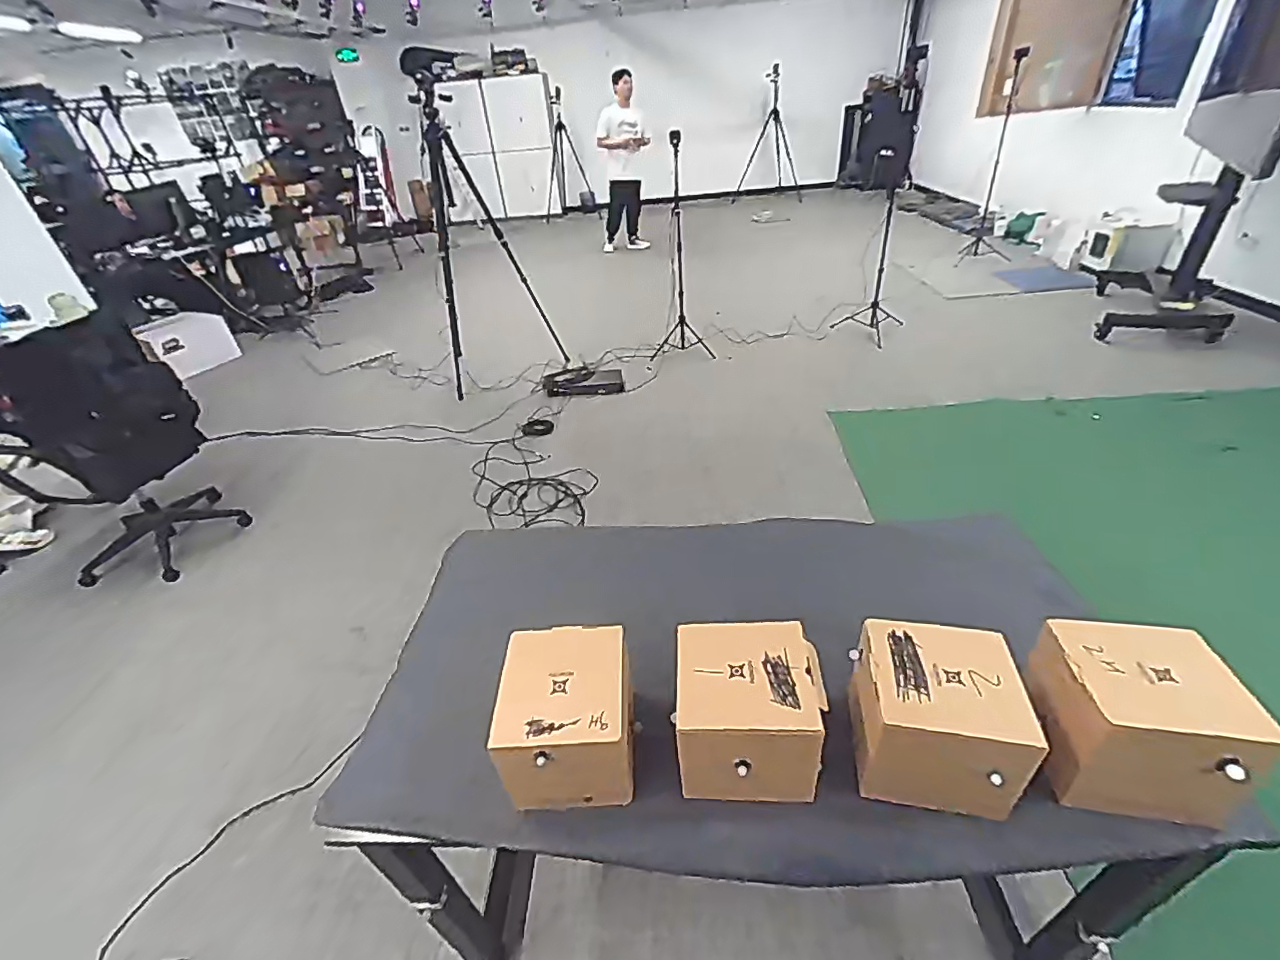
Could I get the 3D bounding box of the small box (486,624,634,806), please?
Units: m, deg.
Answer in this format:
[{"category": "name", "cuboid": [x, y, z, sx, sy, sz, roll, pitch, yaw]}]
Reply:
[{"category": "small box", "cuboid": [-0.099, 0.329, 0.764, 0.168, 0.176, 0.179, -5, 35, 3]}]
